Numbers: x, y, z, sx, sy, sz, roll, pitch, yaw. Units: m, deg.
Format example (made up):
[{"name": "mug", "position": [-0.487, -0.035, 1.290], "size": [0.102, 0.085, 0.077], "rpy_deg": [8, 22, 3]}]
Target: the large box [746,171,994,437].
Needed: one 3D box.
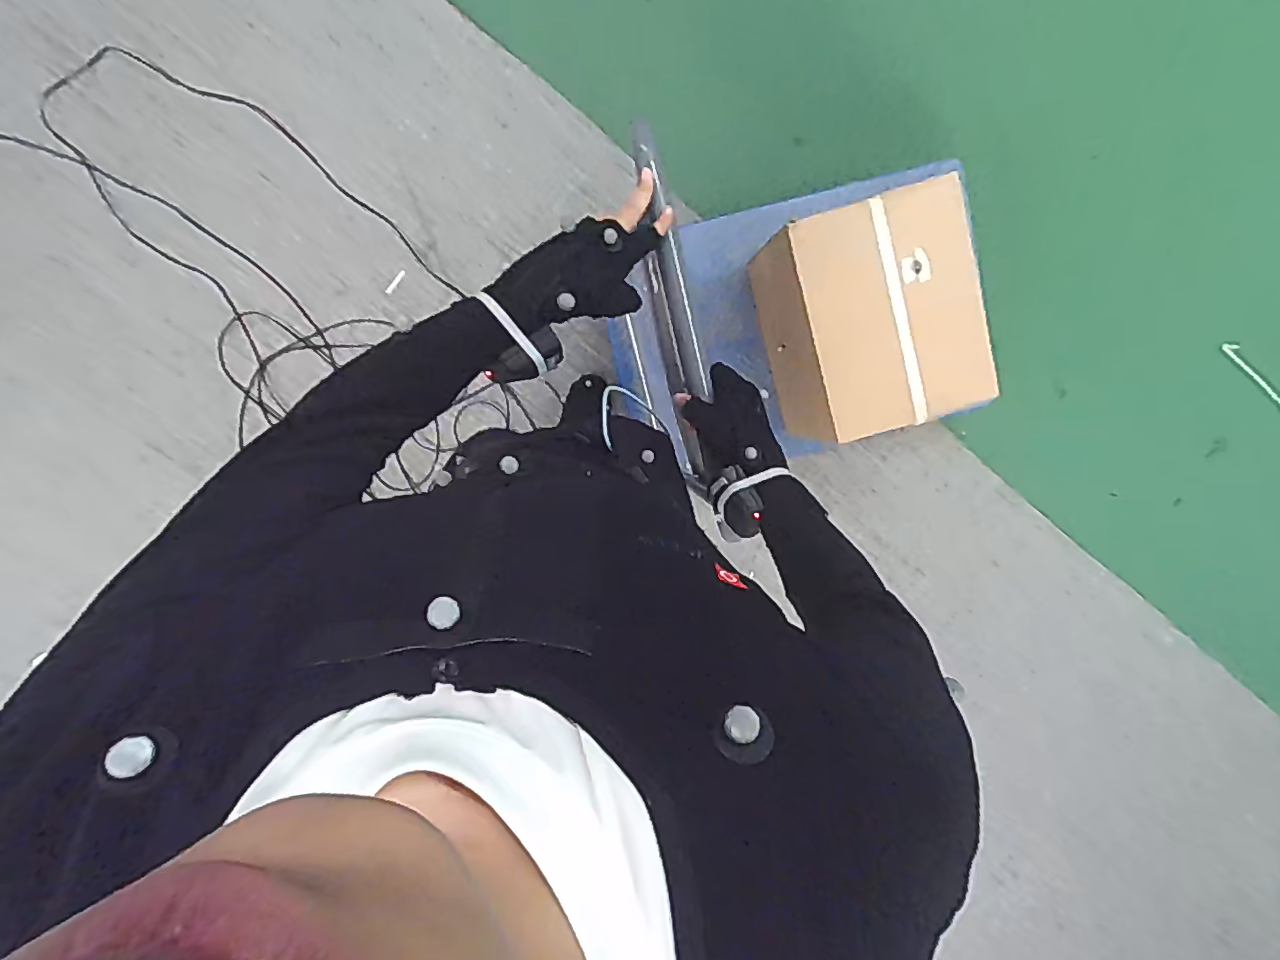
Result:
[{"name": "large box", "position": [0.446, -0.329, 1.118], "size": [0.320, 0.320, 0.408], "rpy_deg": [-17, 98, -1]}]
